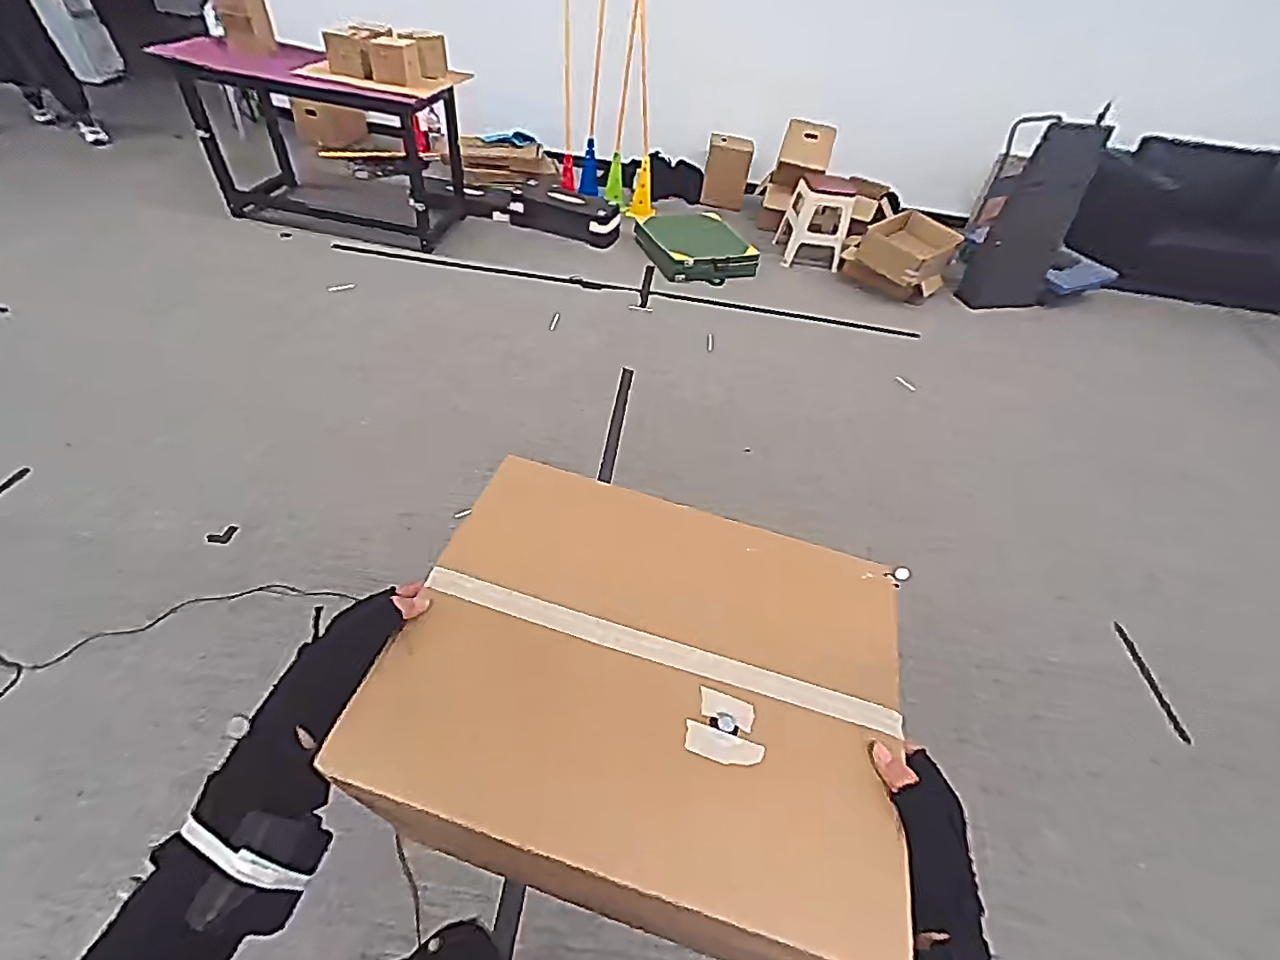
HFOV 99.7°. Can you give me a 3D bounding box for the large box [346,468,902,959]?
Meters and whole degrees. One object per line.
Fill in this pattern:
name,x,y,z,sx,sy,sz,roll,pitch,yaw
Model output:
large box,-0.001,0.242,0.572,0.408,0.320,0.320,17,50,6
